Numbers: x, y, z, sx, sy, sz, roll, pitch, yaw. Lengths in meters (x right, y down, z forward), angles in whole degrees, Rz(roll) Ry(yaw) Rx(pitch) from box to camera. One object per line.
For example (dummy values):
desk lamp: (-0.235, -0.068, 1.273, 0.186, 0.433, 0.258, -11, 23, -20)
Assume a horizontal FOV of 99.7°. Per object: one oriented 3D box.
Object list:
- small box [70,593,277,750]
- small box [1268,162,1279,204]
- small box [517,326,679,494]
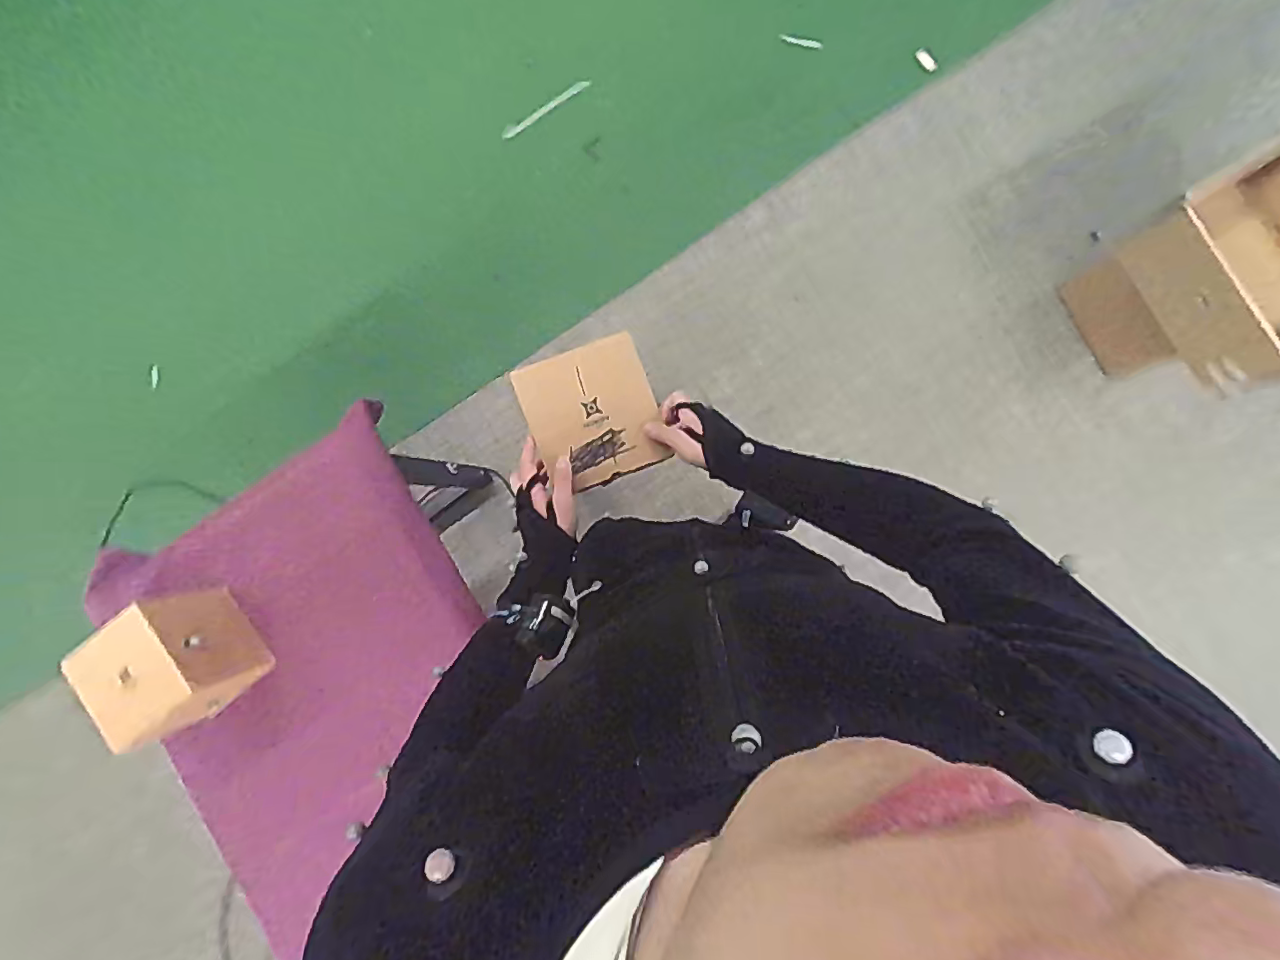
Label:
small box: (-0.784, 0.311, 0.927, 0.168, 0.176, 0.179, -39, 86, 4)
small box: (1.354, -0.587, 1.005, 0.179, 0.176, 0.168, -28, 86, 5)
small box: (-0.056, -0.093, 0.766, 0.168, 0.176, 0.179, -20, 94, -3)
